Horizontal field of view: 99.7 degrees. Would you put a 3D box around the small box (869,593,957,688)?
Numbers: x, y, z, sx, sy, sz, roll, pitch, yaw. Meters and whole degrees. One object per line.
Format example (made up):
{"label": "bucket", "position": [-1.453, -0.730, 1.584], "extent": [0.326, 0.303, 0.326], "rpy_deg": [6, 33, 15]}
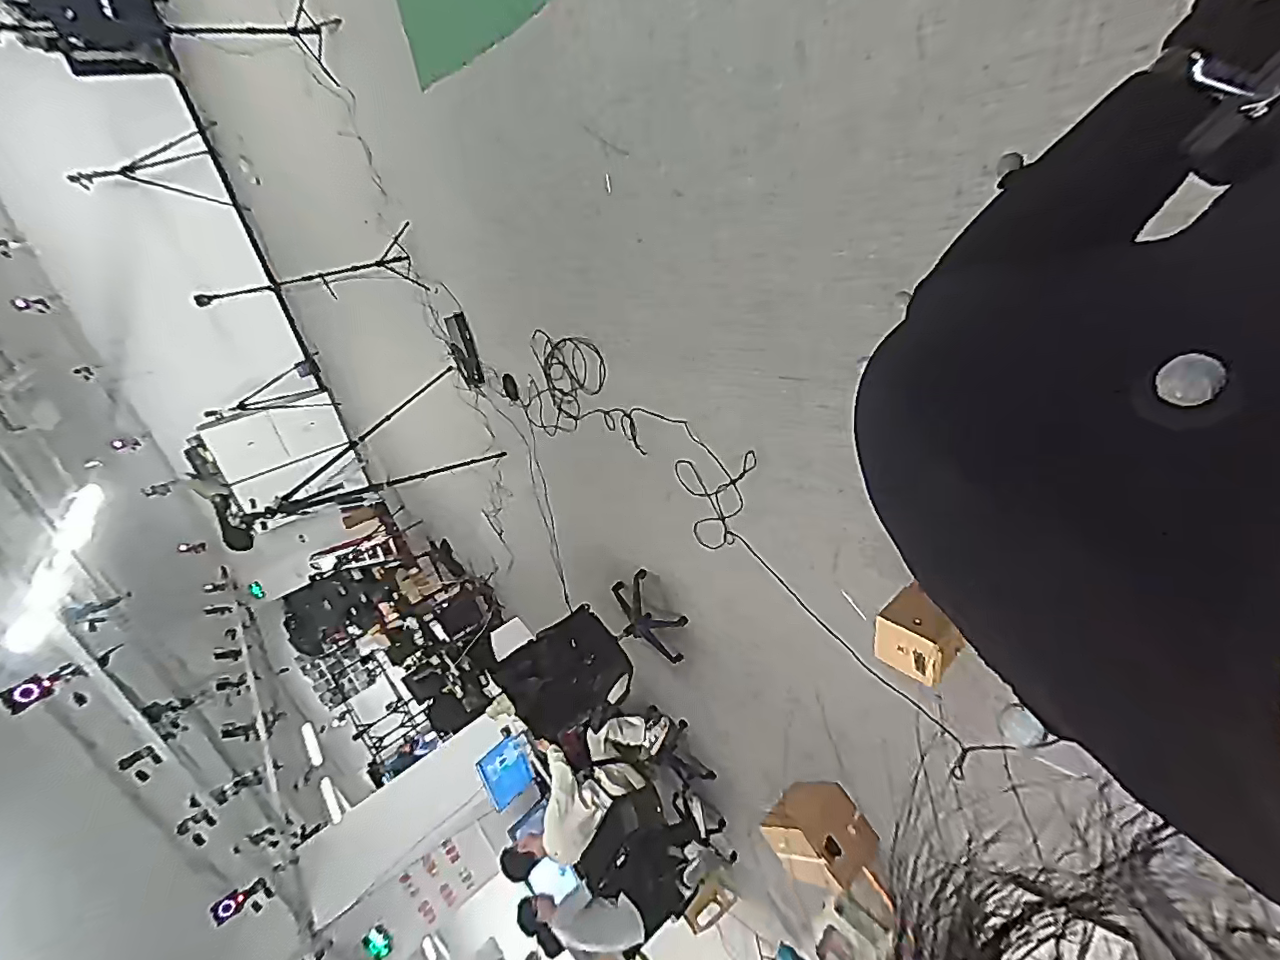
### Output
{"label": "small box", "position": [0.796, 0.458, 1.578], "extent": [0.179, 0.176, 0.168], "rpy_deg": [23, 131, 46]}

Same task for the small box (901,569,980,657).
{"label": "small box", "position": [0.921, 0.401, 1.670], "extent": [0.179, 0.176, 0.168], "rpy_deg": [22, 131, 46]}
